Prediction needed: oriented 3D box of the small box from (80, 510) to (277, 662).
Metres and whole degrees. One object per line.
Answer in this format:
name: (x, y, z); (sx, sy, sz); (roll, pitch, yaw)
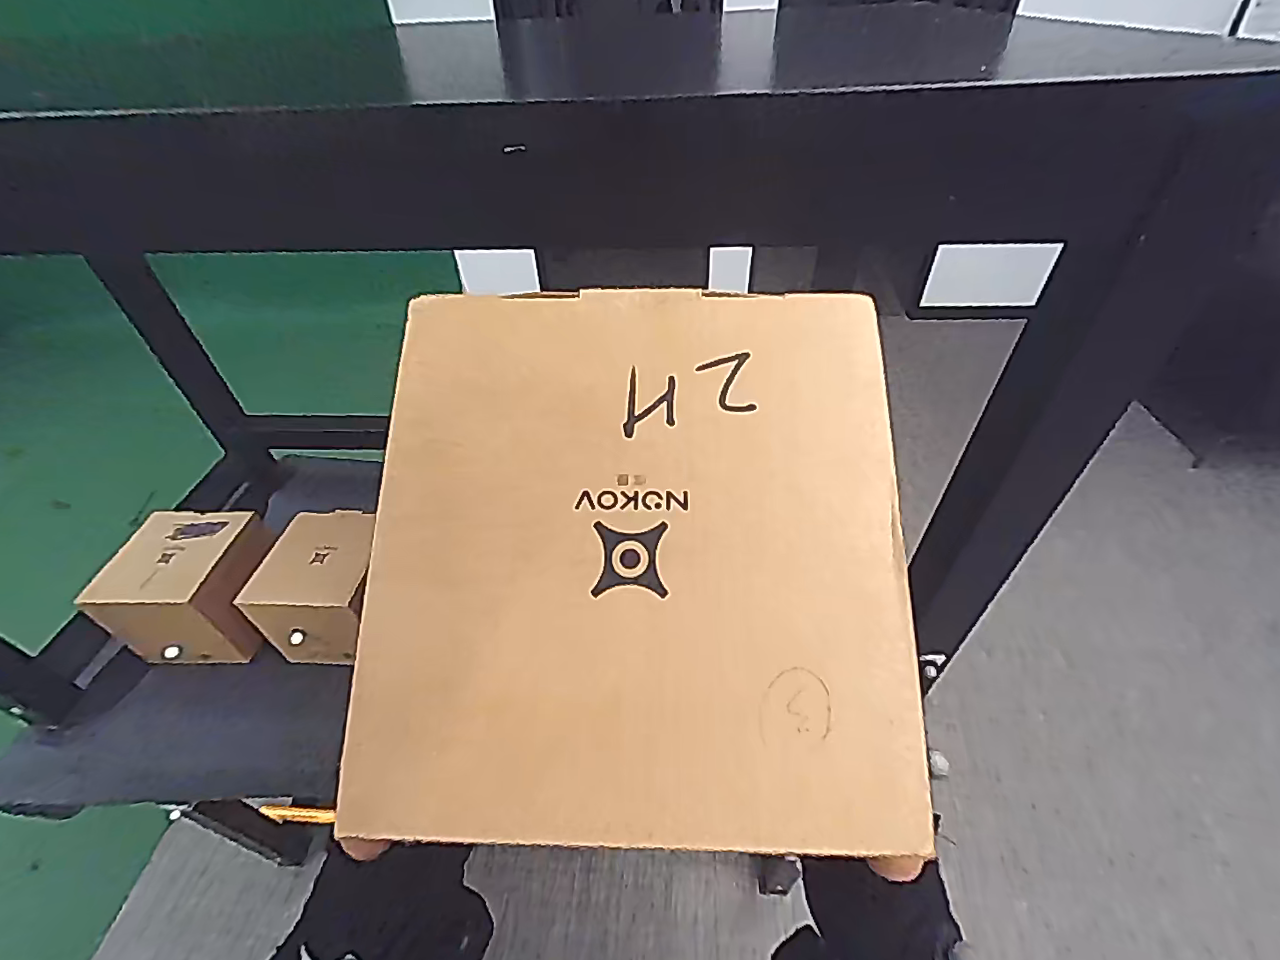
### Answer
small box: (-0.690, 0.166, 0.857); (0.168, 0.176, 0.179); (-1, 43, 2)

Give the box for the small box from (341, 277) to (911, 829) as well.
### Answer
small box: (0.000, 0.031, 0.251); (0.168, 0.176, 0.179); (1, 74, 2)

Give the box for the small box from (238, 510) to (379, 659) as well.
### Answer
small box: (-0.464, 0.167, 0.849); (0.168, 0.176, 0.179); (1, 42, 3)
